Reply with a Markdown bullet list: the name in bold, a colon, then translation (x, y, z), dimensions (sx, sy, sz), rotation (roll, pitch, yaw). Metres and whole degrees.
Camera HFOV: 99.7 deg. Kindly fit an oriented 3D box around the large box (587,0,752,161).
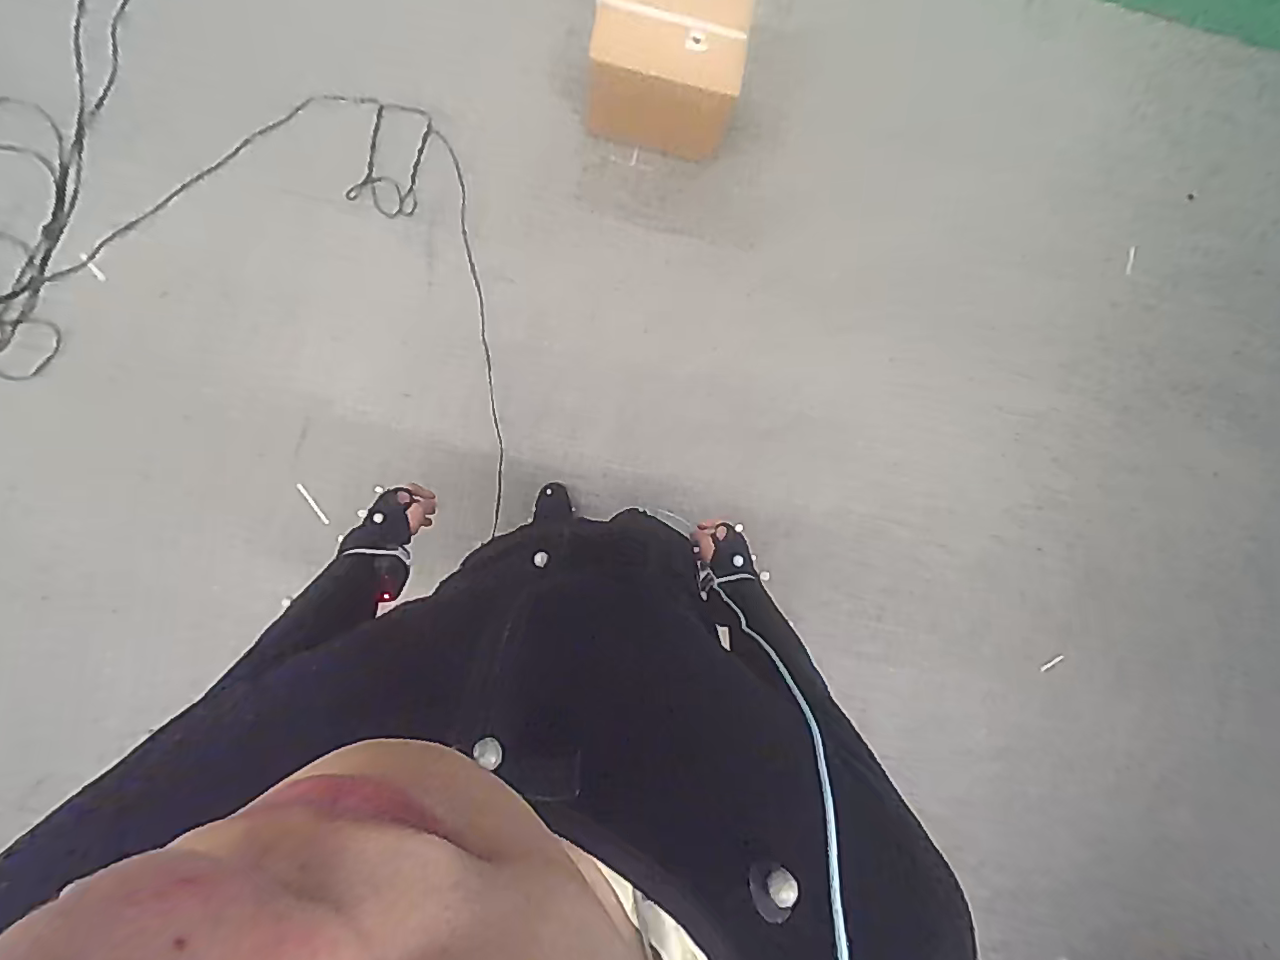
- **large box**: translation (0.067, -1.193, 1.562), dimensions (0.408, 0.320, 0.320), rotation (9, 88, -6)
